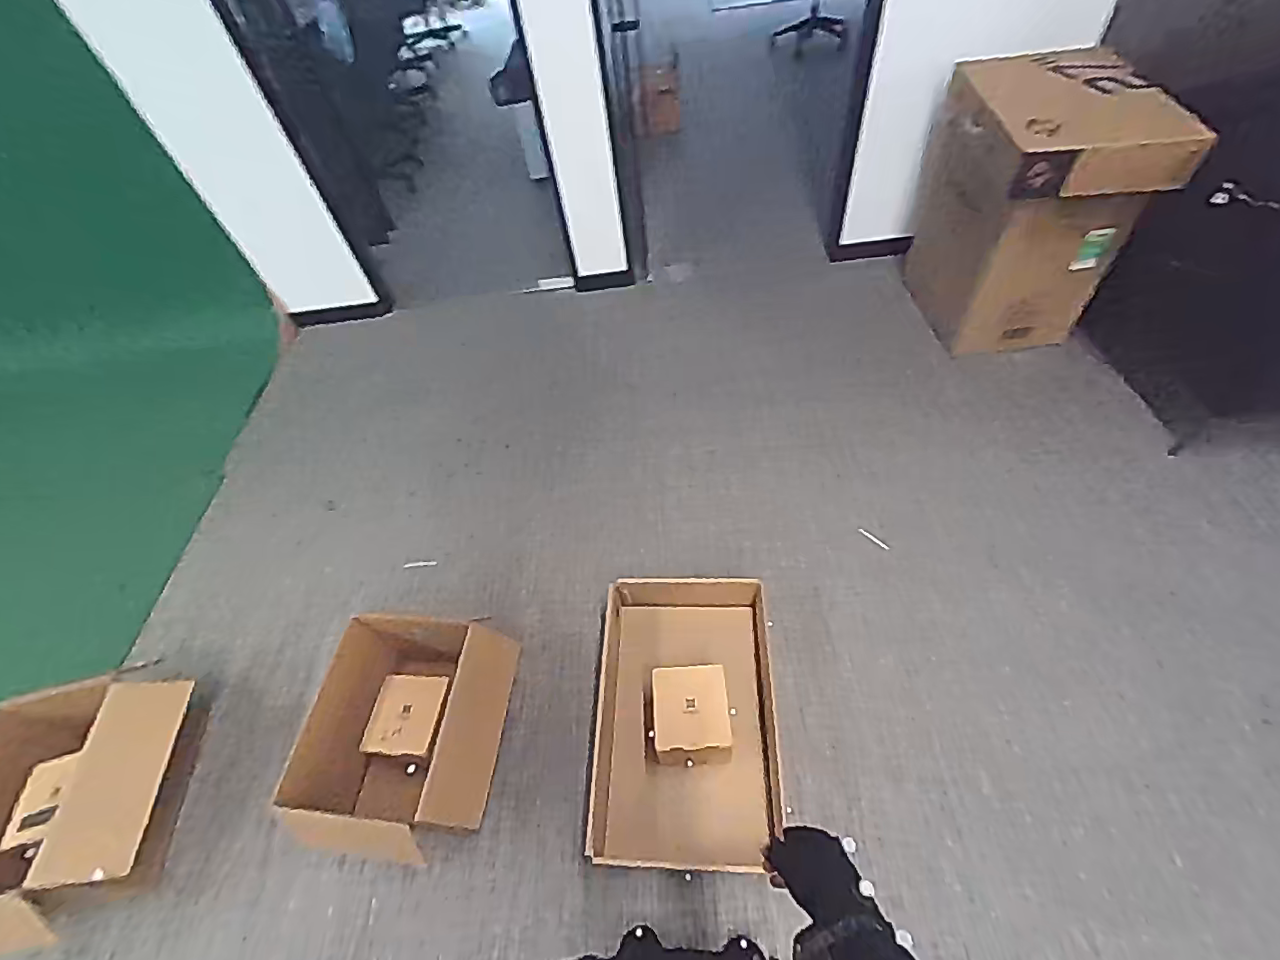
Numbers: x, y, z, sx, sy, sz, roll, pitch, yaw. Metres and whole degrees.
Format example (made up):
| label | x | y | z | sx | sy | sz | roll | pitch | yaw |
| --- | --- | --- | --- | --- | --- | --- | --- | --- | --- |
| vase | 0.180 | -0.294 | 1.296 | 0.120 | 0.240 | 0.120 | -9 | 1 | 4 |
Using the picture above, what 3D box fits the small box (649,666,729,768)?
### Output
| label | x | y | z | sx | sy | sz | roll | pitch | yaw |
| --- | --- | --- | --- | --- | --- | --- | --- | --- | --- |
| small box | 0.110 | 0.549 | 1.249 | 0.168 | 0.176 | 0.179 | -5 | 52 | 3 |
